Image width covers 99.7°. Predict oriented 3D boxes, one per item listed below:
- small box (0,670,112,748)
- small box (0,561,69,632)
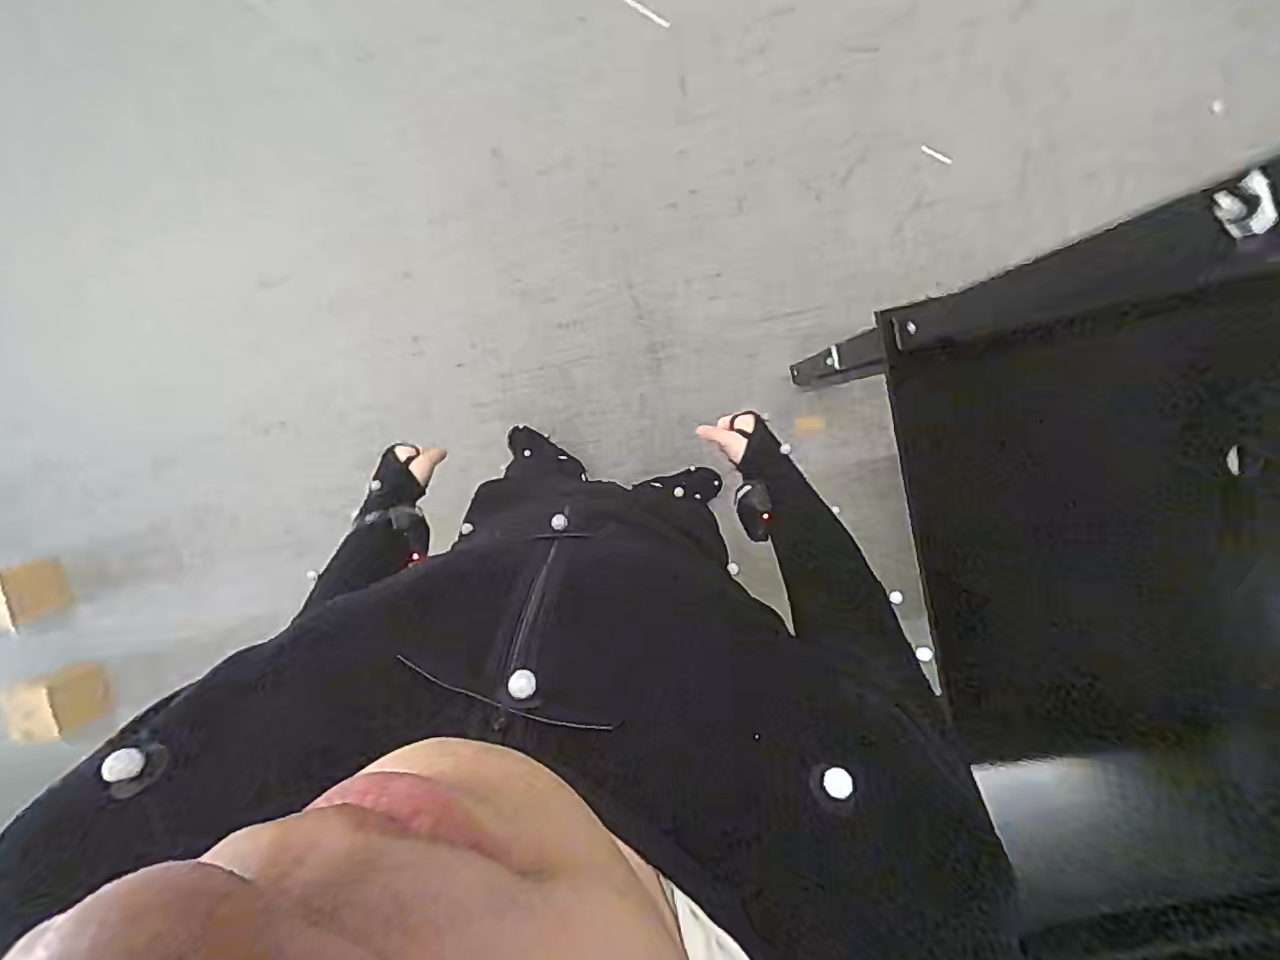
[{"bbox_3d":[-1.868,0.726,1.737,0.168,0.176,0.179,-8,95,4],"label":"small box"},{"bbox_3d":[-1.973,0.369,1.703,0.168,0.176,0.179,-9,95,4],"label":"small box"}]
